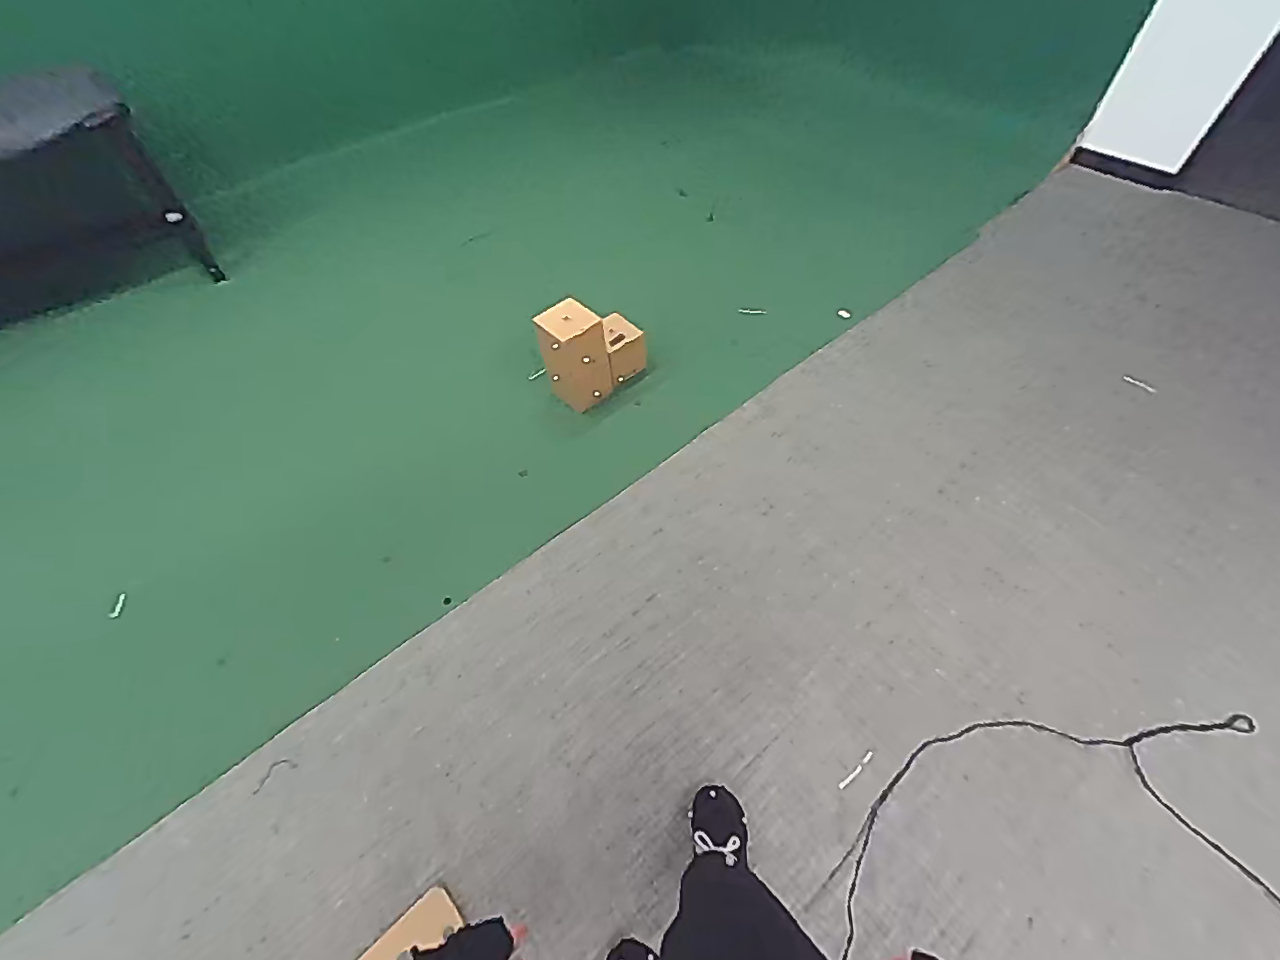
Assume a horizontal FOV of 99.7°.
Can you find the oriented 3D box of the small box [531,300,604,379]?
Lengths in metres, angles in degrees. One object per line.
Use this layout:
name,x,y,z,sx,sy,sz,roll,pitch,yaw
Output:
small box,-0.244,-0.478,1.852,0.168,0.176,0.179,-39,61,-22
